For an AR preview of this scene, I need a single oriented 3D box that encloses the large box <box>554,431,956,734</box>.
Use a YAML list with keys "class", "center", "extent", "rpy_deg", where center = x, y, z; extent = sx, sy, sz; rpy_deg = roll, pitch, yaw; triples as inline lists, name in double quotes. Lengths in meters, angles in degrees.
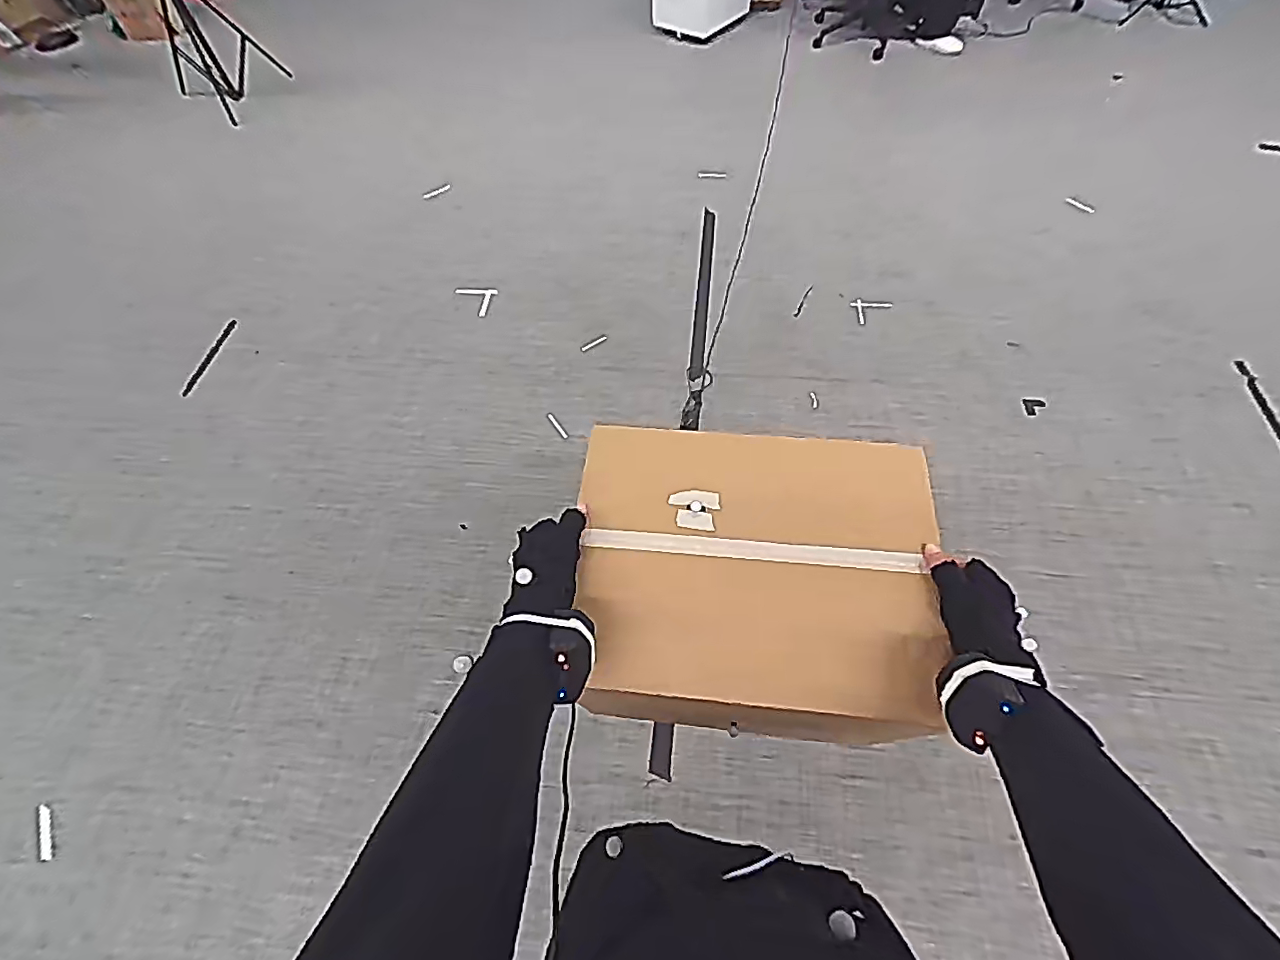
- class: "large box"
  center: [0.134, 0.152, 0.736]
  extent: [0.408, 0.320, 0.320]
  rpy_deg: [4, 61, 7]
